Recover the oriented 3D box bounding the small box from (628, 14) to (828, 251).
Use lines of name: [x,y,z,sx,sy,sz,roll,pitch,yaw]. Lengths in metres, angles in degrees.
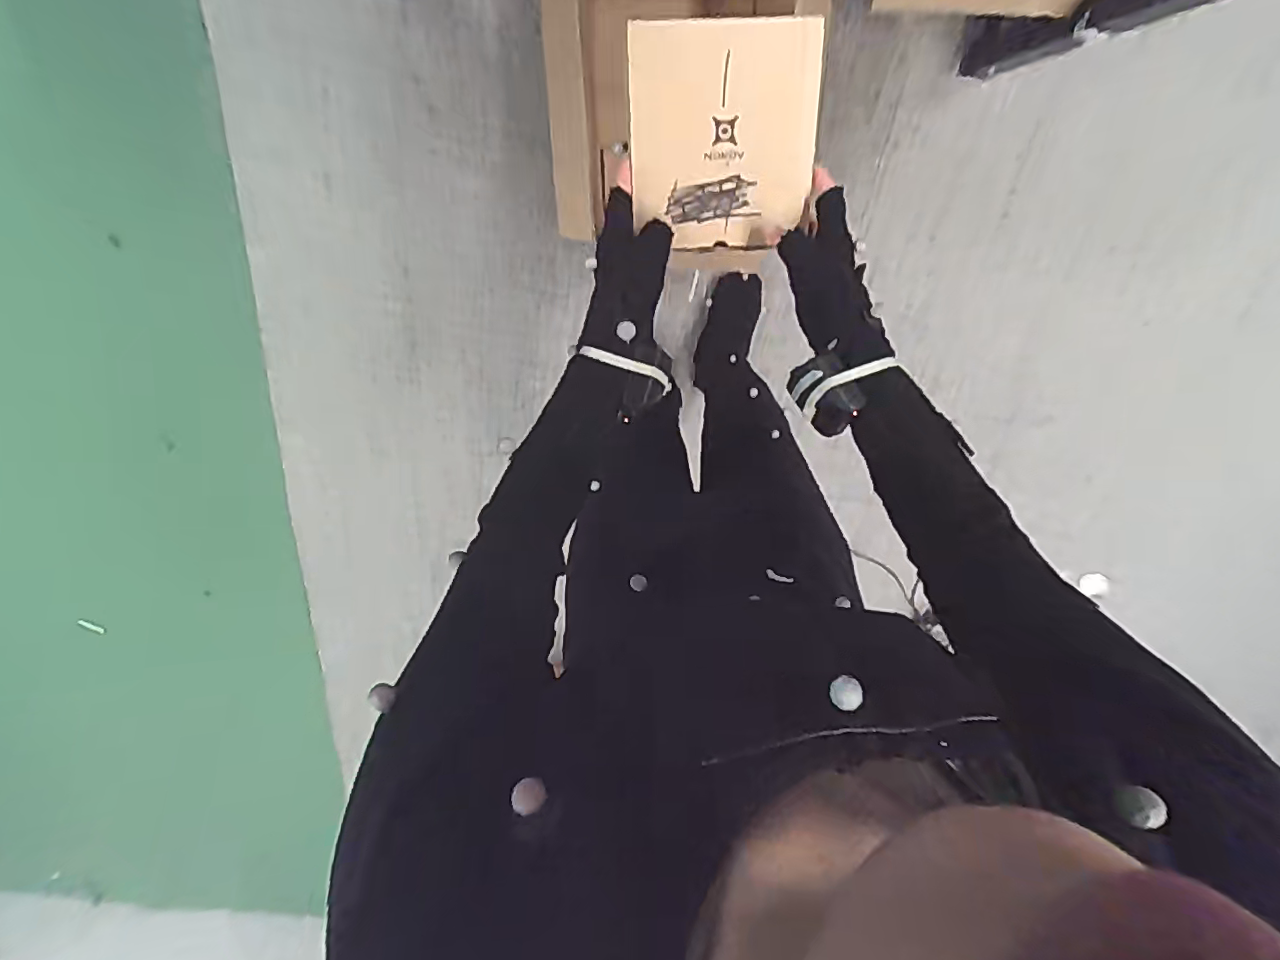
small box: [0.073,-0.333,0.549,0.168,0.176,0.179,-2,114,-1]
